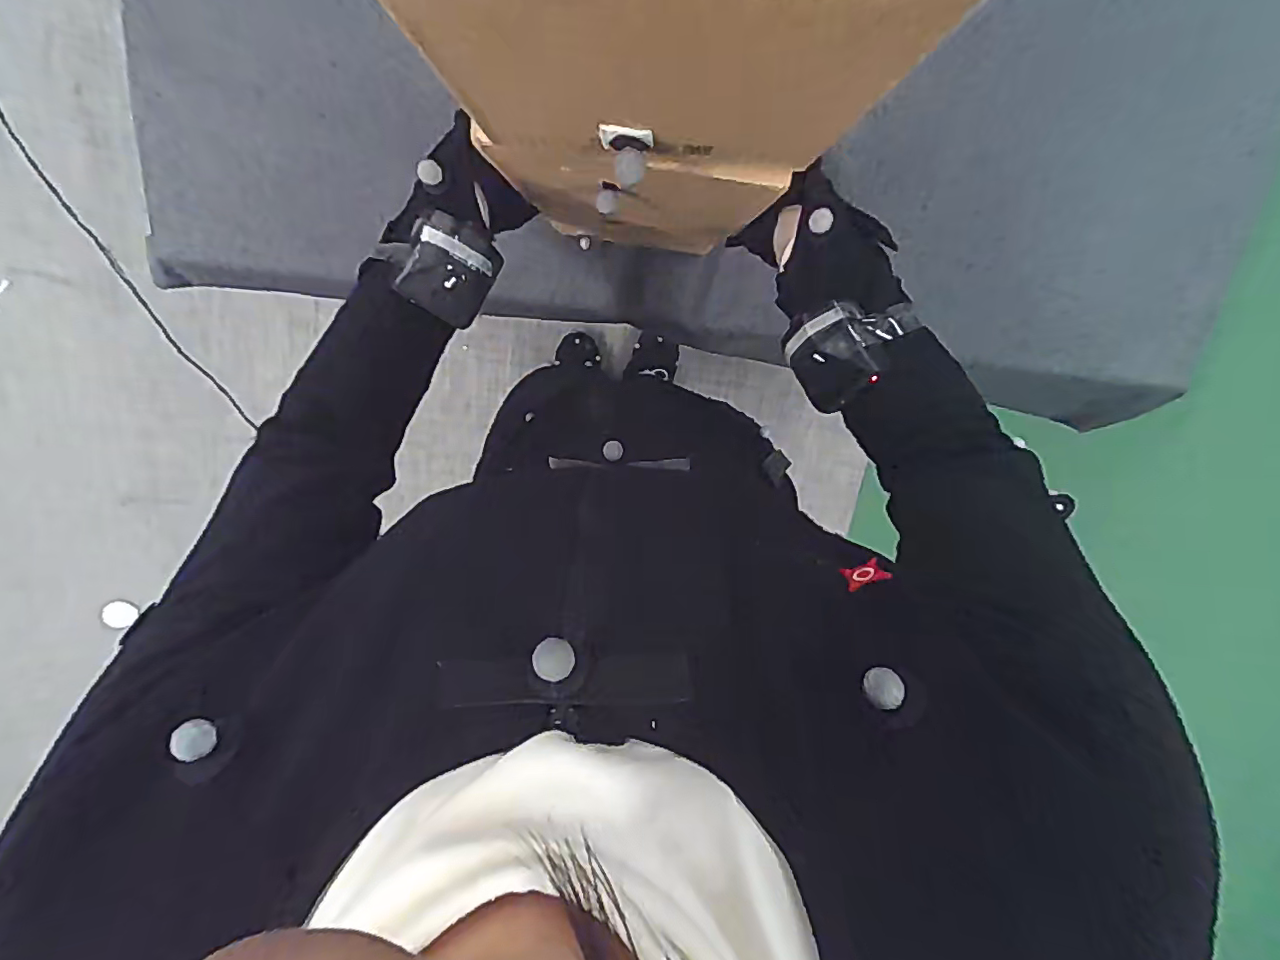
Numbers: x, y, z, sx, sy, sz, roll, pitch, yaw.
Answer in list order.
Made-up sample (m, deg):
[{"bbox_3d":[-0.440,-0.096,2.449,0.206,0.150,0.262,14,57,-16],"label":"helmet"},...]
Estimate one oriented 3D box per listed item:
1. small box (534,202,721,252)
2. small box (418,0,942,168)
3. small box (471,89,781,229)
[{"bbox_3d":[0.004,-0.322,0.506,0.168,0.176,0.179,7,104,-1],"label":"small box"},{"bbox_3d":[0.007,-0.235,0.191,0.168,0.176,0.179,2,105,1],"label":"small box"},{"bbox_3d":[0.003,-0.273,0.352,0.179,0.176,0.168,5,103,-1],"label":"small box"}]
